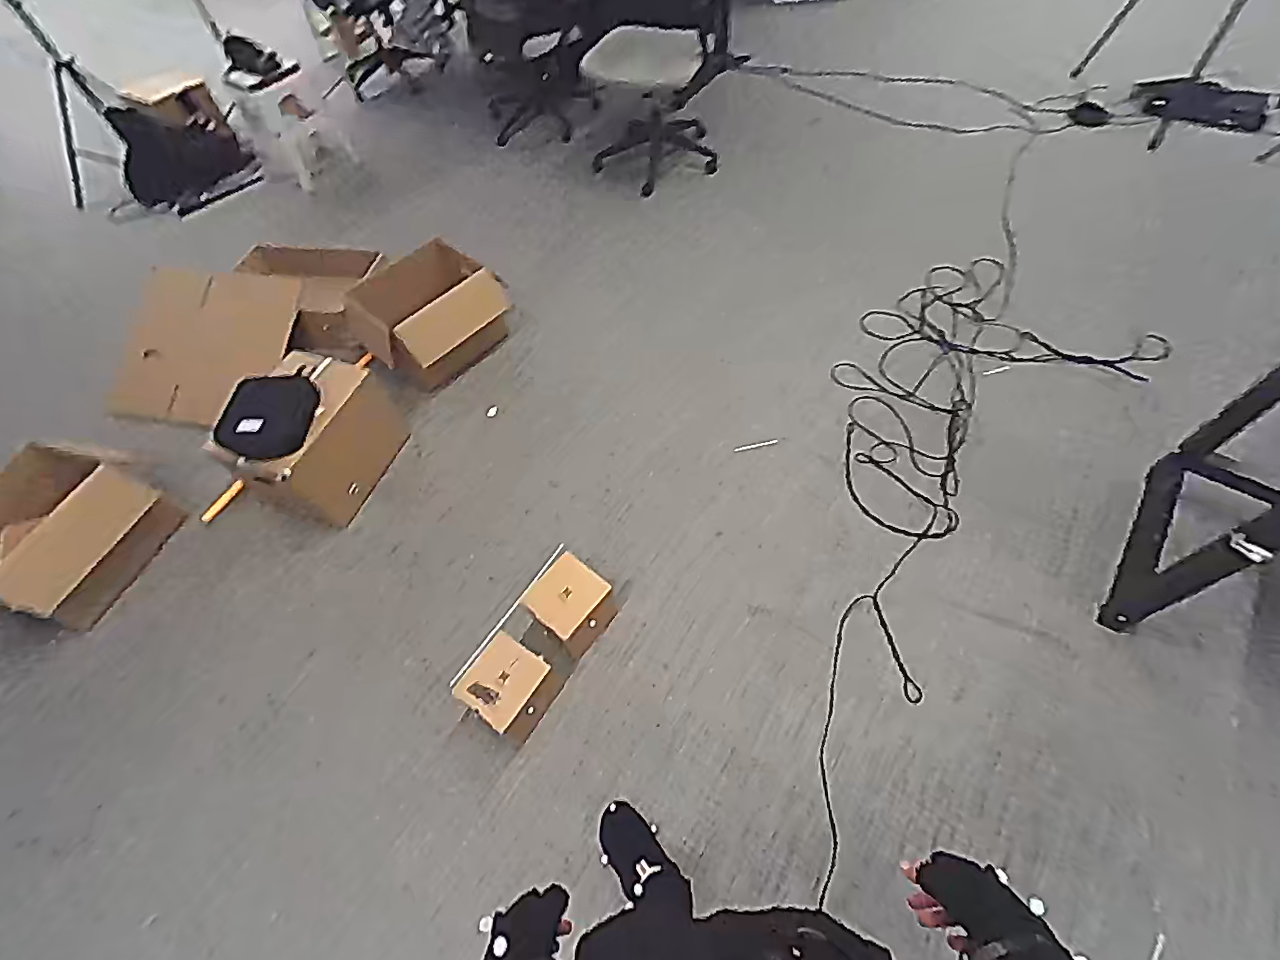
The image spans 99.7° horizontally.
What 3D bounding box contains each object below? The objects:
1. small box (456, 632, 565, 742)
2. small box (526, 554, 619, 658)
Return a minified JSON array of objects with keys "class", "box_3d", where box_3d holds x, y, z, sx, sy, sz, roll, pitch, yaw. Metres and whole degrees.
[{"class":"small box","box_3d":[-0.305,0.511,1.320,0.168,0.176,0.179,28,63,22]},{"class":"small box","box_3d":[-0.168,0.335,1.422,0.168,0.176,0.179,33,67,24]}]
